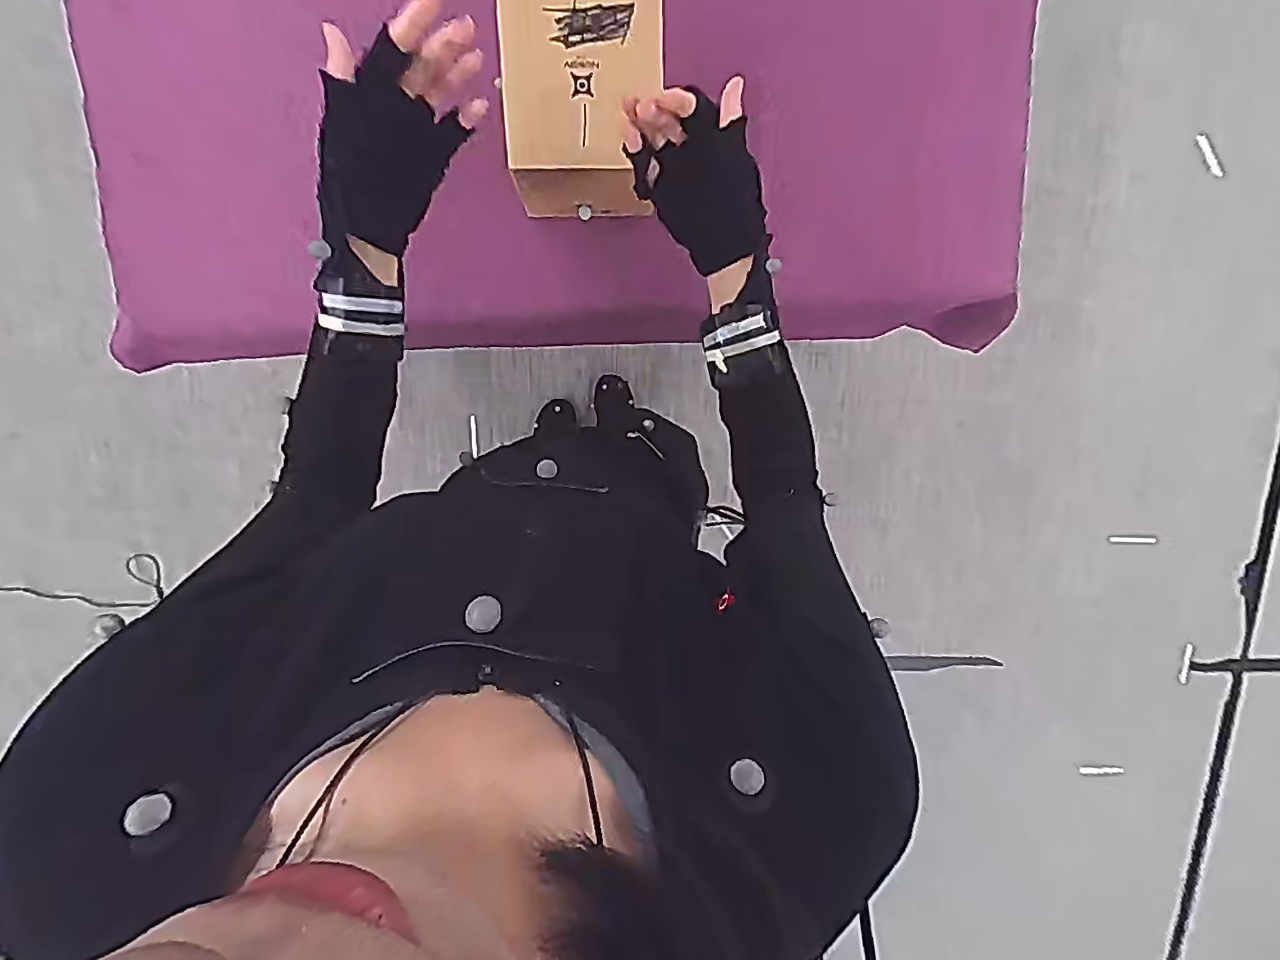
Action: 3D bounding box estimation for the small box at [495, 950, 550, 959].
[{"bbox_3d":[-0.364,1.581,1.643,0.179,0.176,0.168,1,98,-6],"label":"small box"}]

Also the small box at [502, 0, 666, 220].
[{"bbox_3d":[-0.062,-0.423,0.630,0.168,0.176,0.179,-2,100,-4],"label":"small box"}]
